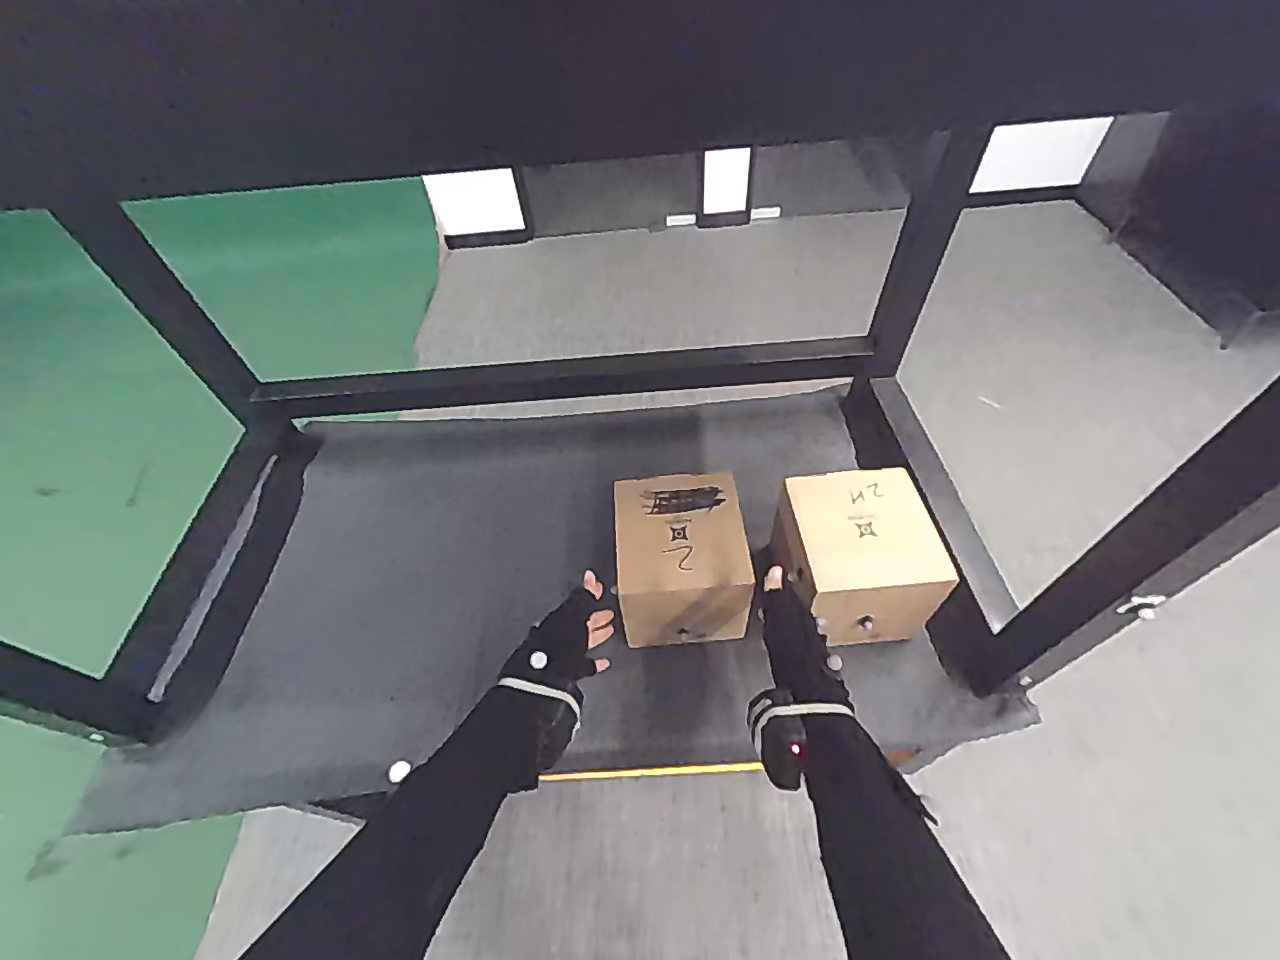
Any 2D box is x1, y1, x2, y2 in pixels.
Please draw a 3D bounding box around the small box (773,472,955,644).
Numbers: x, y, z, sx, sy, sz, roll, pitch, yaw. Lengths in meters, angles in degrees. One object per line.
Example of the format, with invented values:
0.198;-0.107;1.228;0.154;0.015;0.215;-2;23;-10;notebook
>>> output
0.287;0.113;0.740;0.168;0.176;0.179;-5;50;1;small box
